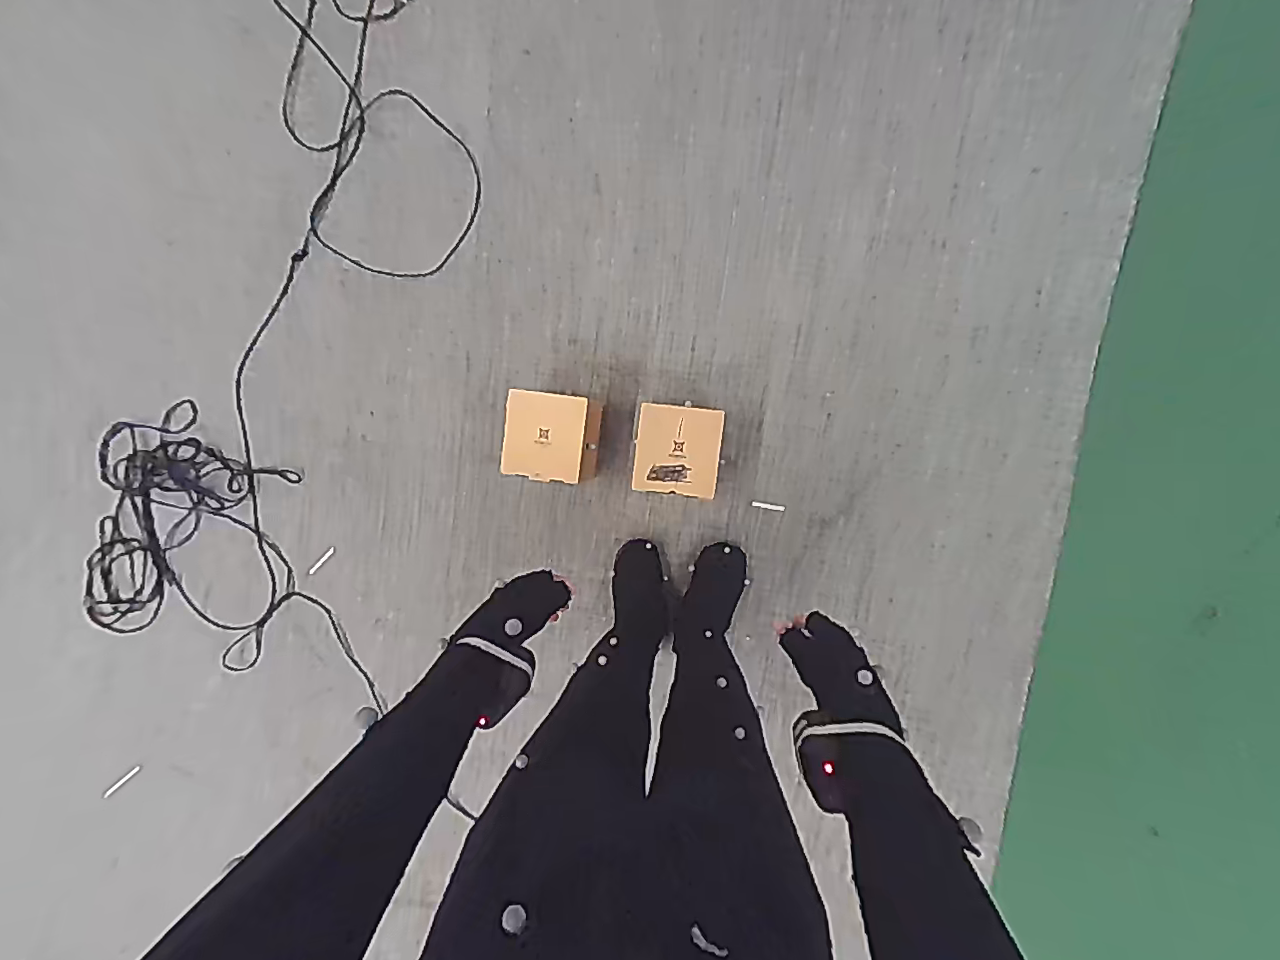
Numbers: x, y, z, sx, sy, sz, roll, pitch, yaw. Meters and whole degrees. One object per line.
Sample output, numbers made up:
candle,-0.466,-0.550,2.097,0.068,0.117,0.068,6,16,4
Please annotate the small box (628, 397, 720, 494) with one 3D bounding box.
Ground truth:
small box,0.077,-0.075,1.139,0.168,0.176,0.179,7,95,6

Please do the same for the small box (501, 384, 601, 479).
small box,-0.185,-0.106,1.171,0.168,0.176,0.179,8,96,7
